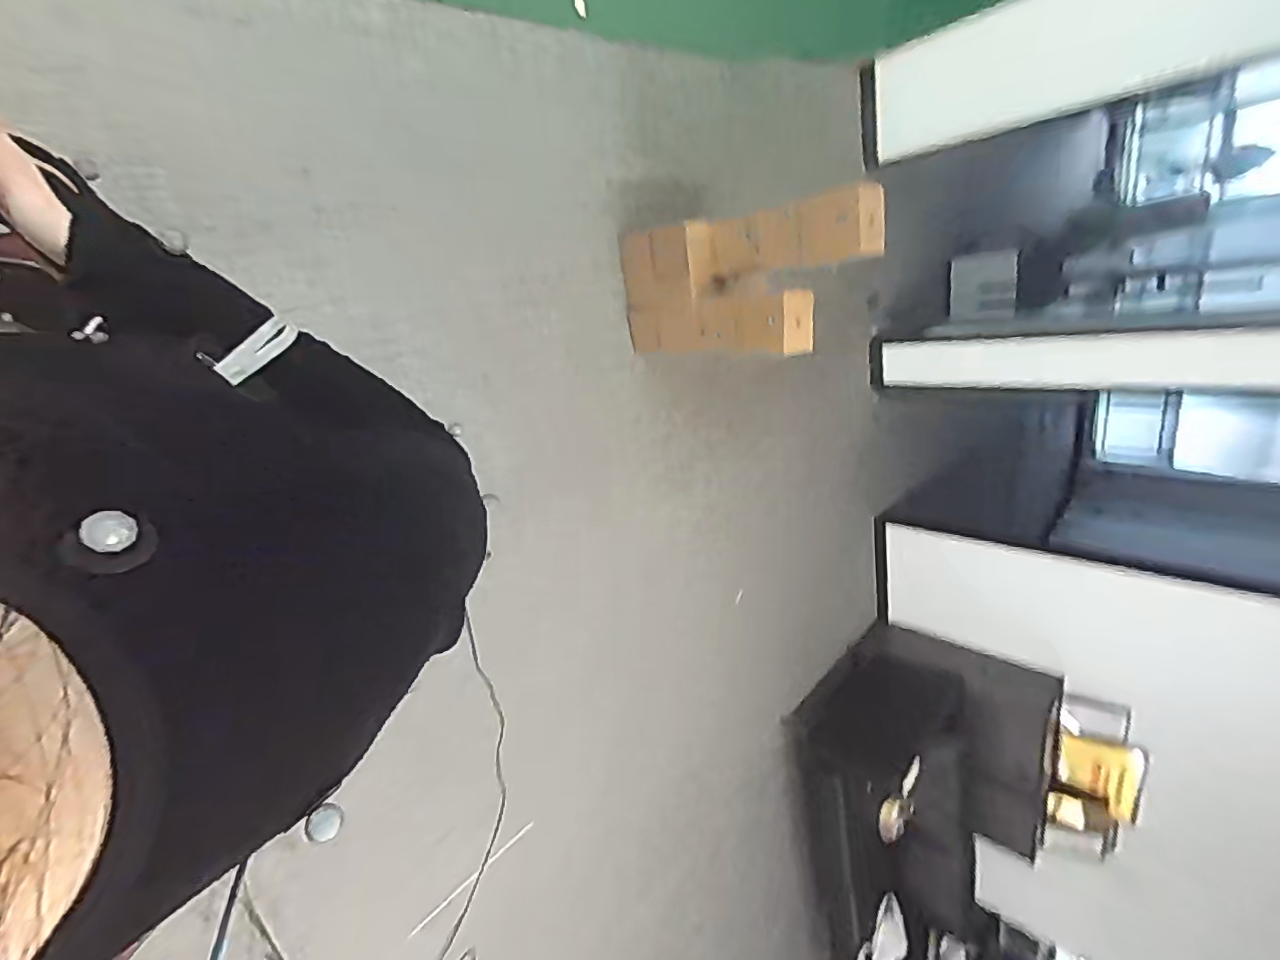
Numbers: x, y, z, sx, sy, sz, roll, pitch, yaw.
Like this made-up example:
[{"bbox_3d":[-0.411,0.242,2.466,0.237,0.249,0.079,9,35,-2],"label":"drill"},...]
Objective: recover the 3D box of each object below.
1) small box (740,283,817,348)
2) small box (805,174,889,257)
[{"bbox_3d":[0.415,-0.495,1.631,0.168,0.176,0.179,-20,113,-40],"label":"small box"},{"bbox_3d":[0.572,-0.727,1.500,0.168,0.176,0.179,-23,113,-40],"label":"small box"}]
